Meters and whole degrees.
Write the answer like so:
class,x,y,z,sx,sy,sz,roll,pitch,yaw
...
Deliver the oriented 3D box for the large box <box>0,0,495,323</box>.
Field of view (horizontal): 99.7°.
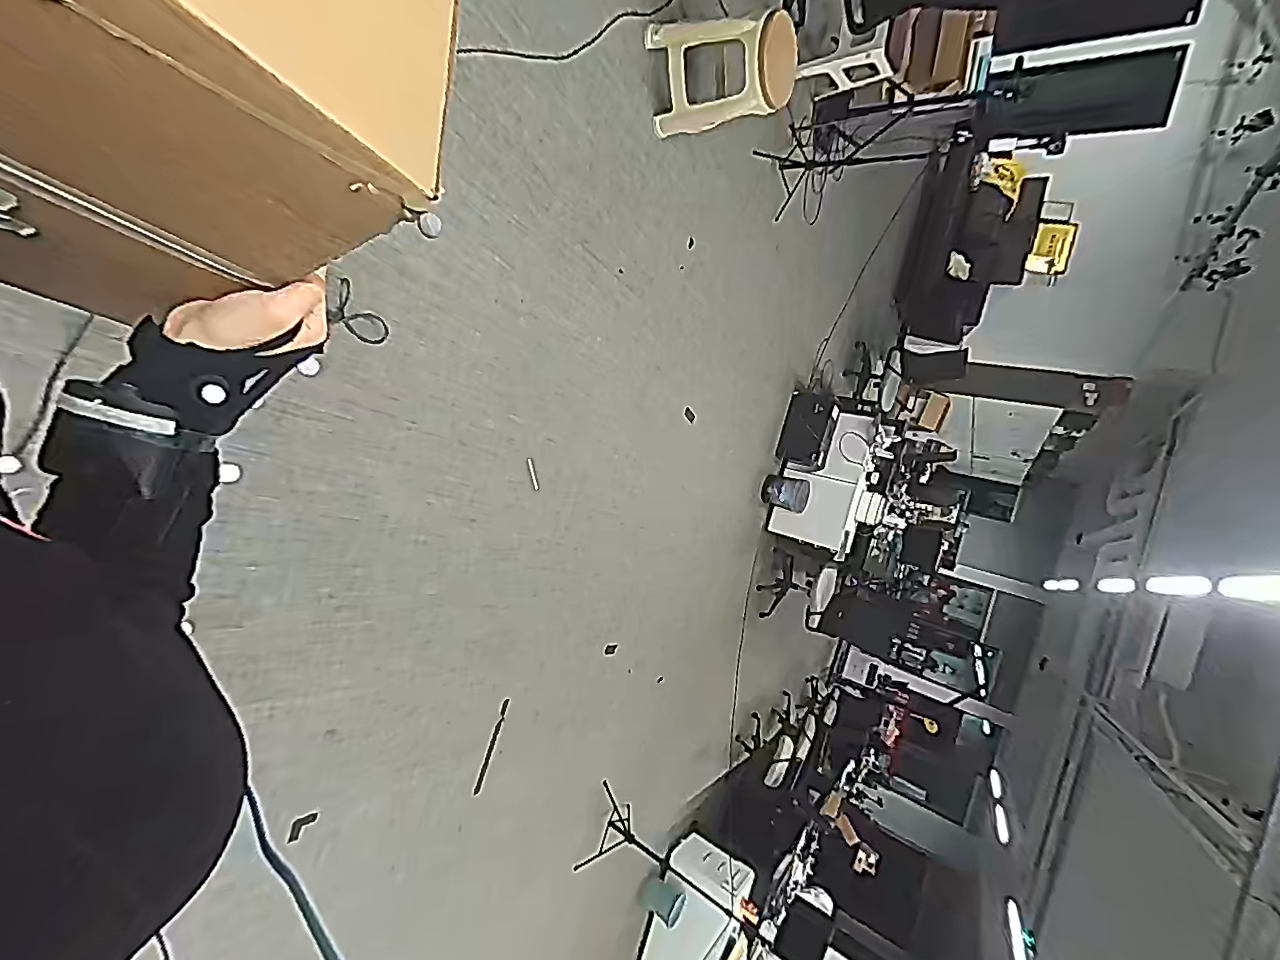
class,x,y,z,sx,sy,sz,roll,pitch,yaw
large box,-0.313,-0.325,0.224,0.408,0.320,0.320,20,67,-57
